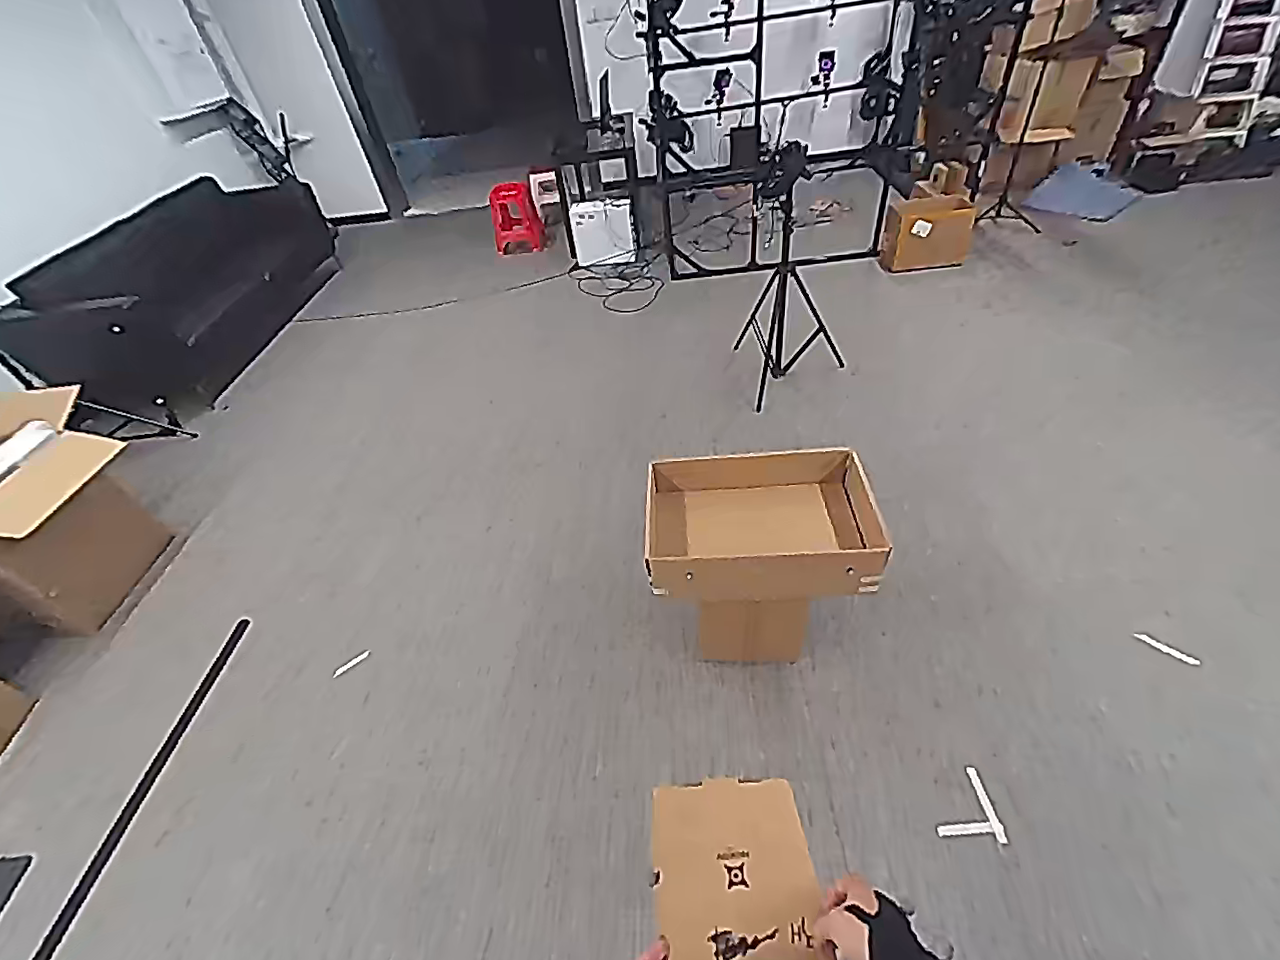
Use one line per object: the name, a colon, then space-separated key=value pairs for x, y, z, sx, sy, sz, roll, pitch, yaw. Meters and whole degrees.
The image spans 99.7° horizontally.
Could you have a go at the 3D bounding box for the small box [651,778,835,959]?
small box: x=0.101 y=0.479 z=0.628 sx=0.168 sy=0.176 sz=0.179 roll=-3 pitch=37 yaw=-3
